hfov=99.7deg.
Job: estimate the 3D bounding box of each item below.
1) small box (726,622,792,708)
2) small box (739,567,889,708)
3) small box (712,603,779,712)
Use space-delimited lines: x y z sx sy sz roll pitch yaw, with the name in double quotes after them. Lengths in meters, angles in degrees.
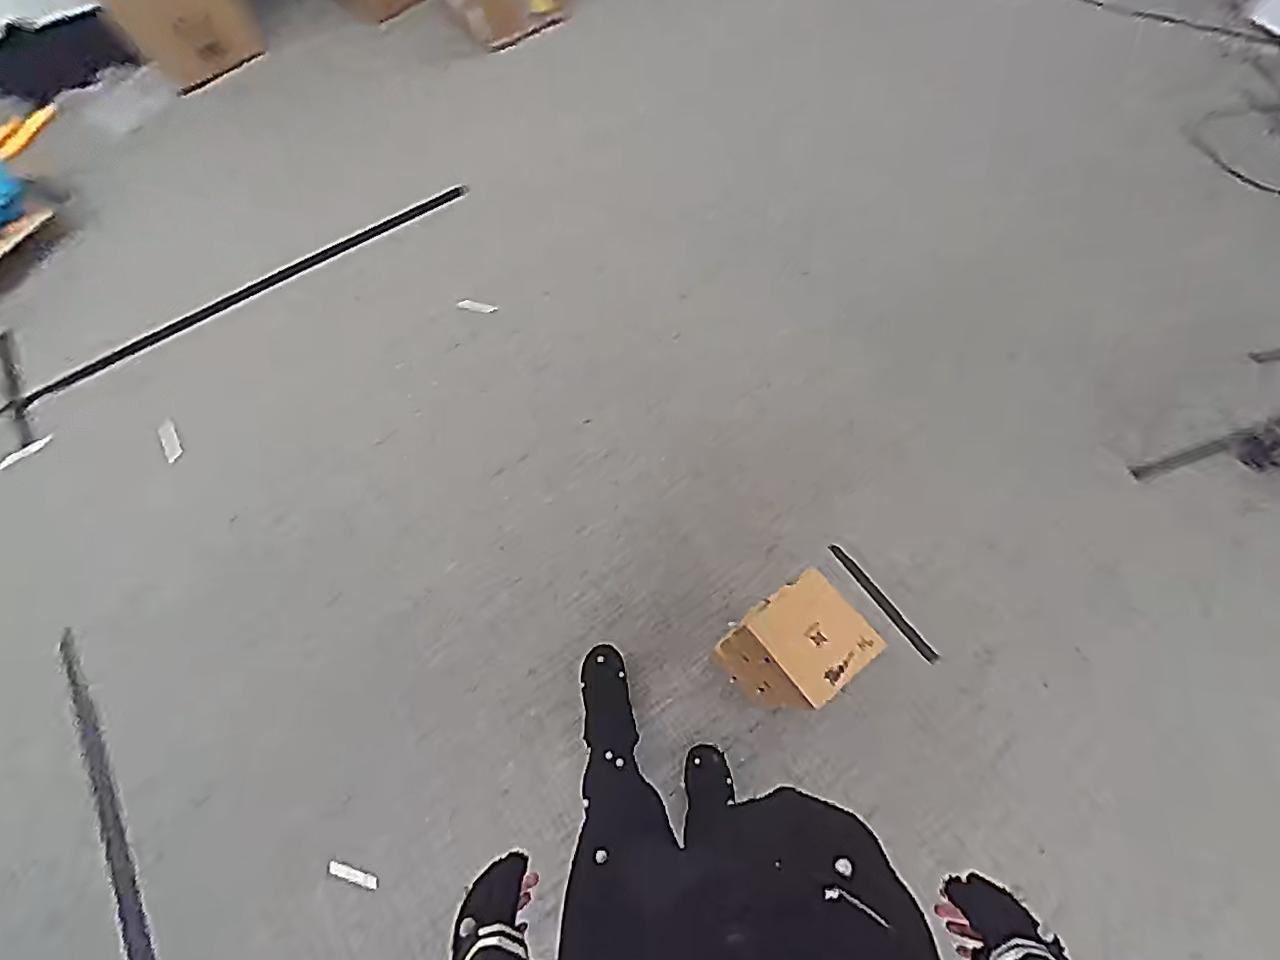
0.295 0.352 1.125 0.179 0.176 0.168 -36 72 -13 "small box"
0.299 0.289 0.974 0.168 0.176 0.179 -36 71 -12 "small box"
0.289 0.419 1.273 0.168 0.176 0.179 -40 70 -14 "small box"
